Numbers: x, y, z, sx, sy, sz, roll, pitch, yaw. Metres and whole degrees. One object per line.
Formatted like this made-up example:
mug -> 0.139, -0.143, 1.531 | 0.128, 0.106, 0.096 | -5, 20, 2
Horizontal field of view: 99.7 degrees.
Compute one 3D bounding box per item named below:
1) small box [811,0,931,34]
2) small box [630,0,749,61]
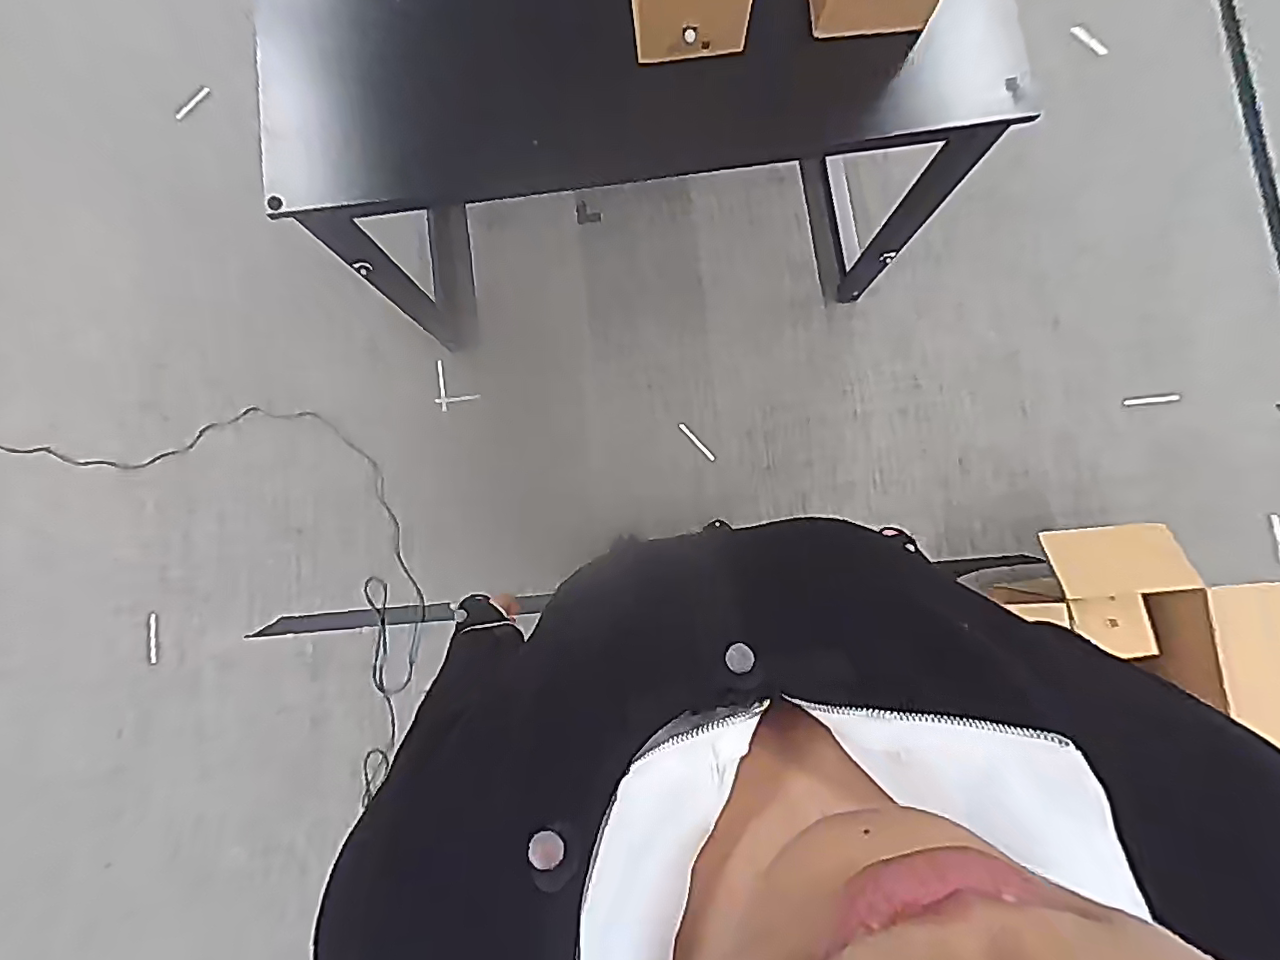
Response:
small box -> 0.346, -0.784, 0.771 | 0.179, 0.176, 0.168 | -4, 85, 2
small box -> 0.066, -0.756, 0.776 | 0.168, 0.176, 0.179 | -6, 85, 1
